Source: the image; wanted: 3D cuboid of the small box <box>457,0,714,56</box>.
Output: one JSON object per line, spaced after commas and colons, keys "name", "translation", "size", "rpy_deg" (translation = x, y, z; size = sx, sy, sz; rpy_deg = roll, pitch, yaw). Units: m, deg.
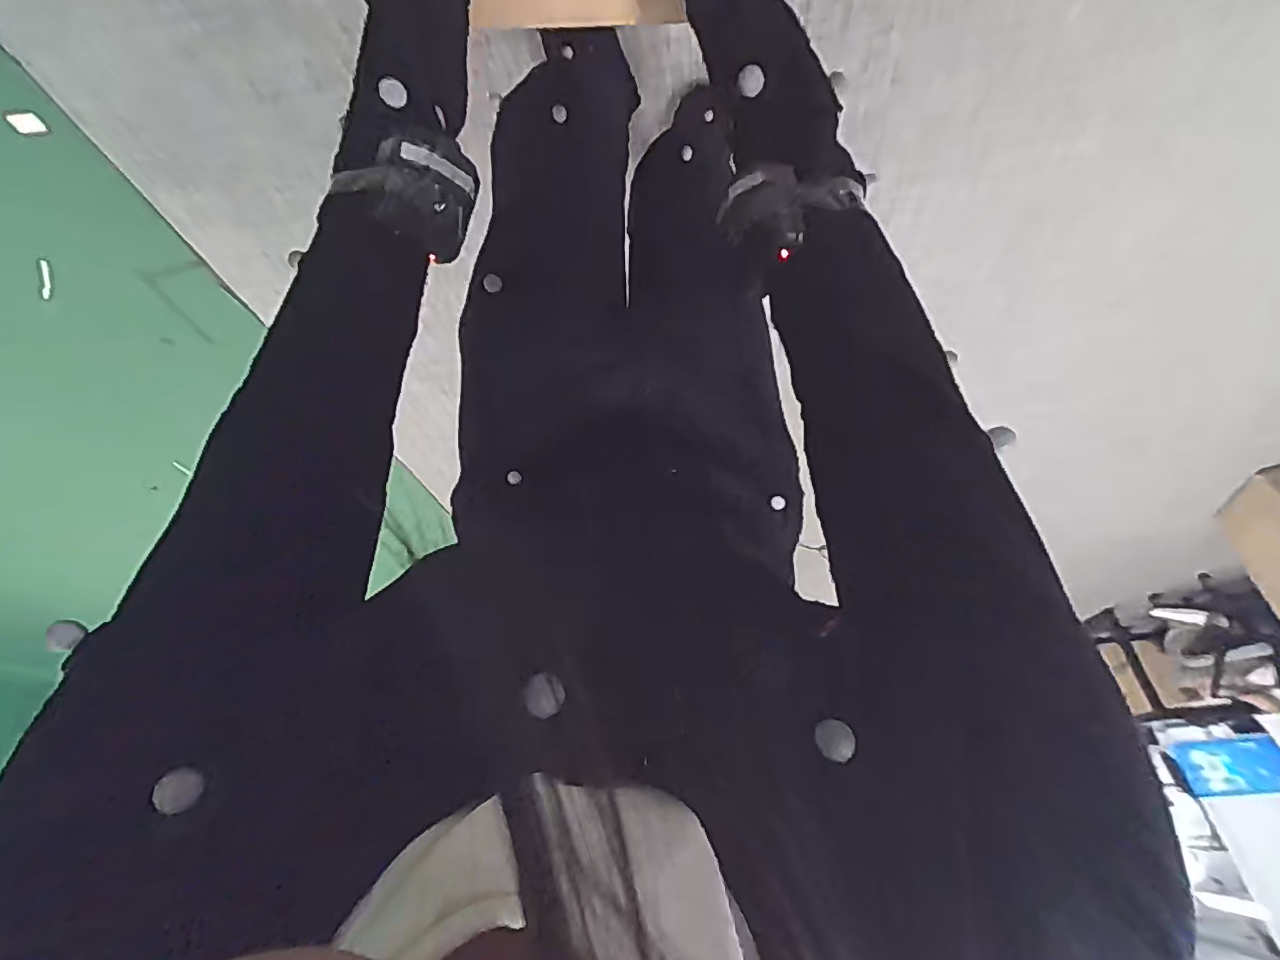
{"name": "small box", "translation": [-0.046, -0.421, 0.358], "size": [0.179, 0.176, 0.168], "rpy_deg": [-6, 149, -1]}
